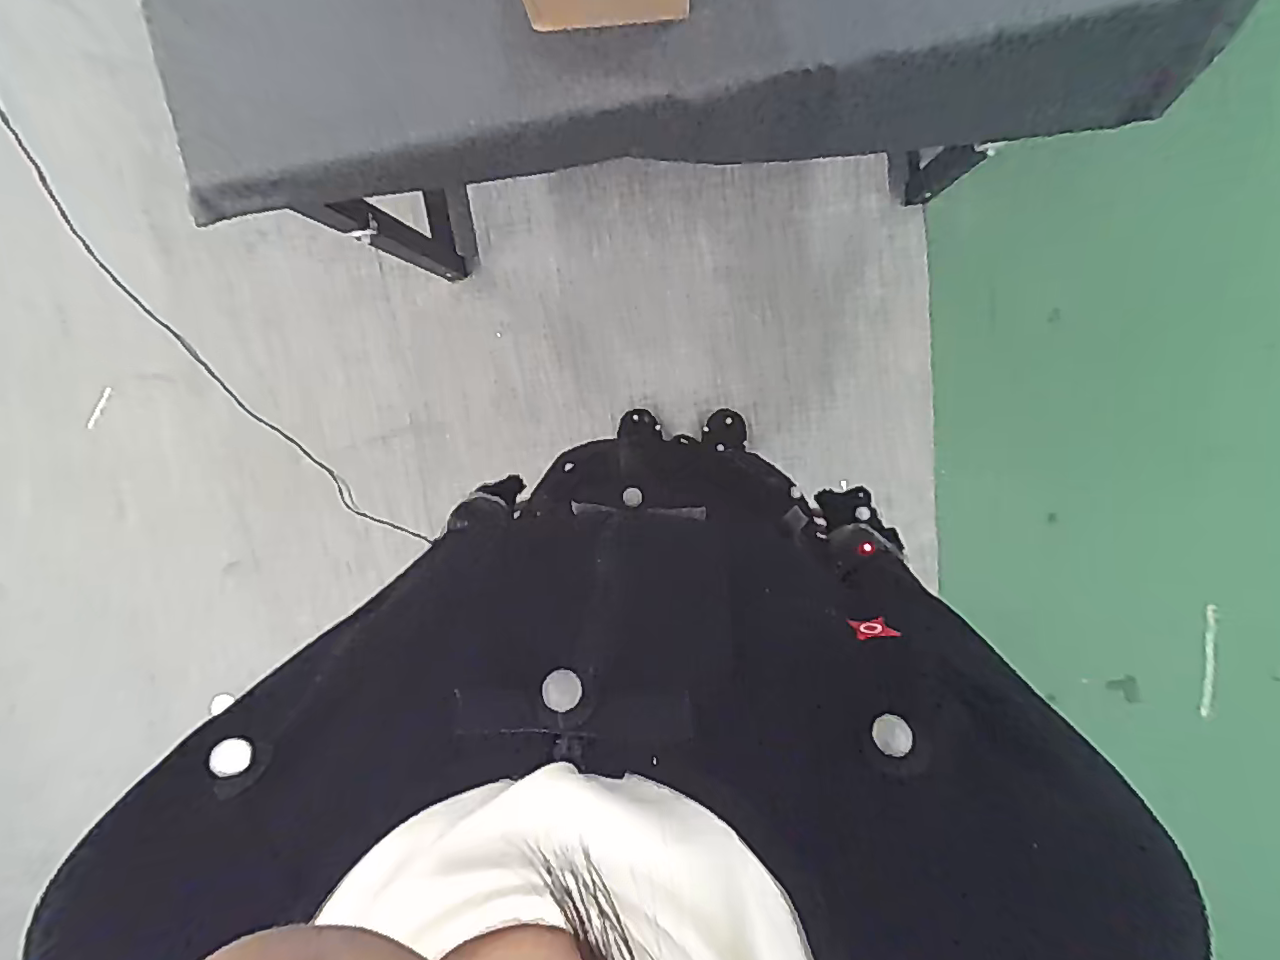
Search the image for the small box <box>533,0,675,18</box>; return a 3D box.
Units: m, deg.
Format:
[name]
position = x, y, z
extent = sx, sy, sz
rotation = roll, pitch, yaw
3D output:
[small box]
position = -0.043, -0.591, 0.518
extent = 0.179, 0.176, 0.168
rotation = -4, 98, 4
